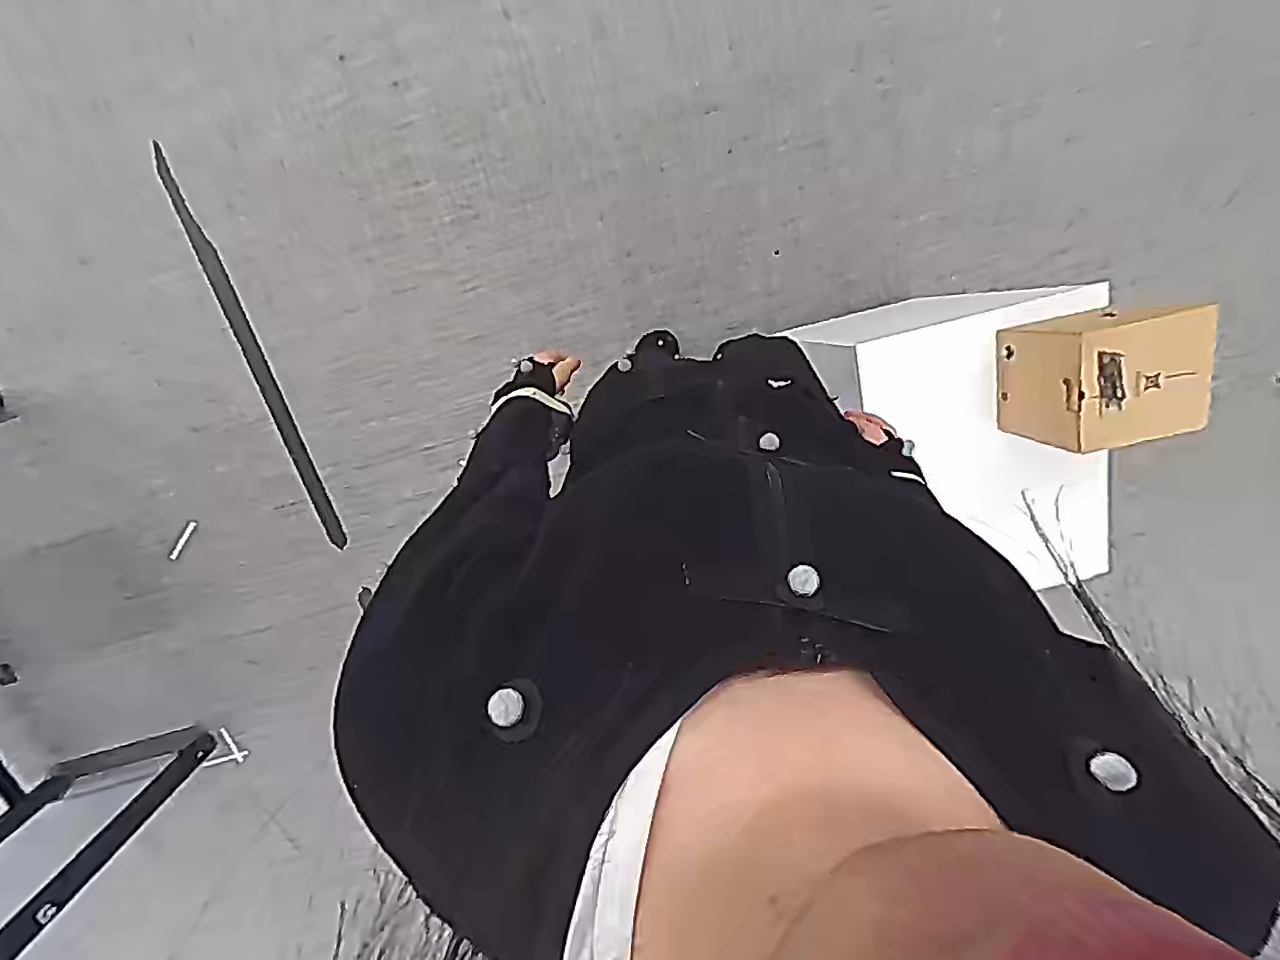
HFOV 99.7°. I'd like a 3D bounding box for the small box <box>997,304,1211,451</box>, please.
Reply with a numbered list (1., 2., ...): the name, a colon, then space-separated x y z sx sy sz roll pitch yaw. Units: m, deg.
1. small box: 0.654 -0.154 0.788 0.179 0.176 0.168 -12 107 1
